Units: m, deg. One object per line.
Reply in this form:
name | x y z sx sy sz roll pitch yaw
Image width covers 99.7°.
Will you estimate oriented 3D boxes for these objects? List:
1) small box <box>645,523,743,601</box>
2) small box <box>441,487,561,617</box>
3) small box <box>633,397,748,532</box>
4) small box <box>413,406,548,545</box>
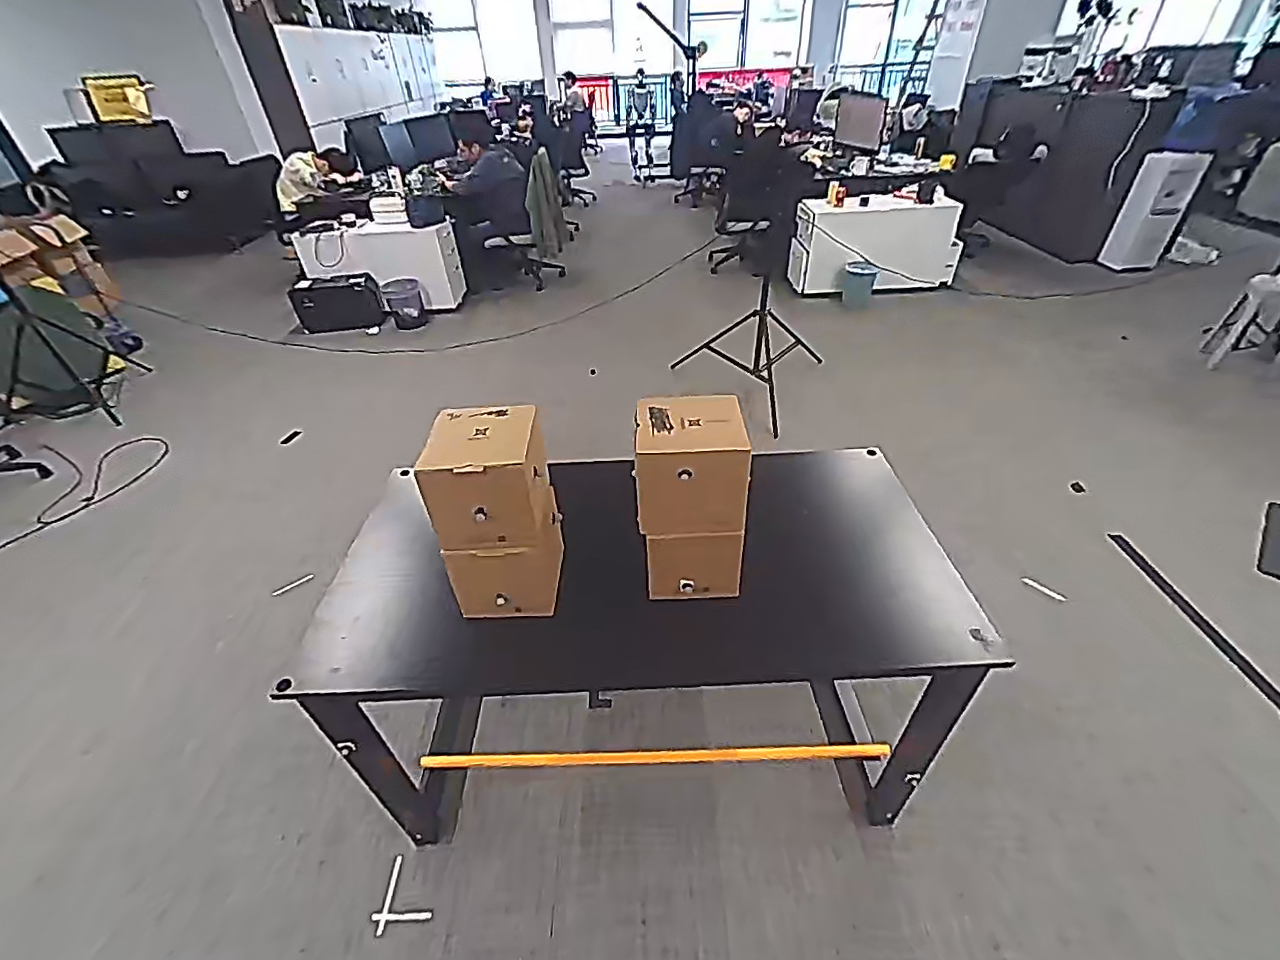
small box | 0.093 0.105 1.016 0.168 0.176 0.179 -4 39 0
small box | -0.243 0.131 0.998 0.168 0.176 0.179 -2 38 2
small box | 0.081 -0.025 0.914 0.179 0.176 0.168 -2 38 2
small box | -0.252 -0.003 0.904 0.168 0.176 0.179 -3 39 -1
